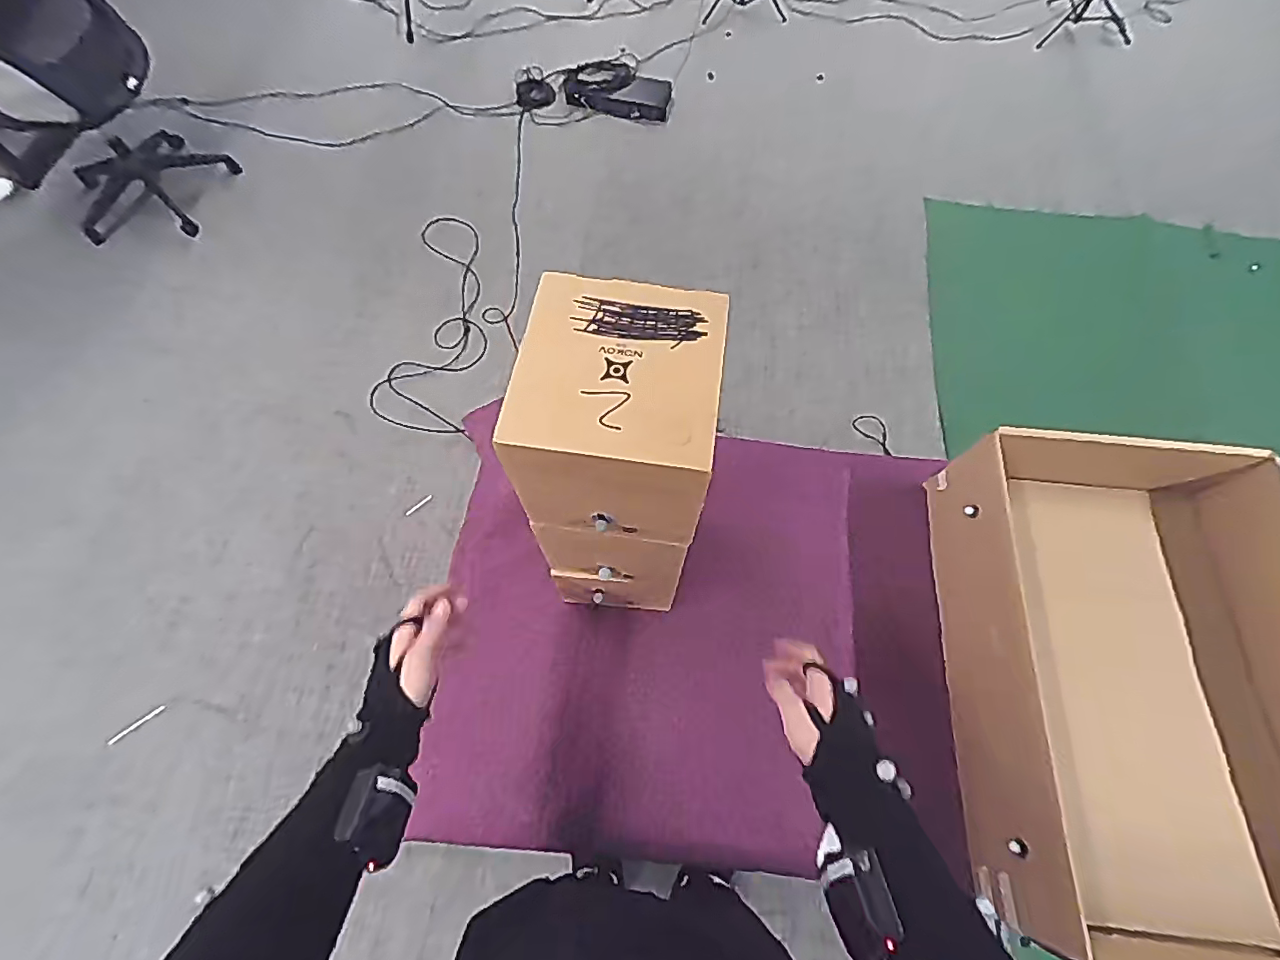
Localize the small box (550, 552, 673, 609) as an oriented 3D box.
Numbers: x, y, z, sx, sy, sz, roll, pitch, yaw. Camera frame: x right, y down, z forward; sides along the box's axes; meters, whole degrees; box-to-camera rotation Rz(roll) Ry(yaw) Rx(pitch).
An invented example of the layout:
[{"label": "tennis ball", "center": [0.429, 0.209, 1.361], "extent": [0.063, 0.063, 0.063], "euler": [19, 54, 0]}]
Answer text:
[{"label": "small box", "center": [-0.028, 0.086, 0.800], "extent": [0.168, 0.176, 0.179], "euler": [5, 64, 2]}]

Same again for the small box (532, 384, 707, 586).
[{"label": "small box", "center": [-0.019, 0.012, 0.653], "extent": [0.168, 0.176, 0.179], "euler": [9, 65, 4]}]
